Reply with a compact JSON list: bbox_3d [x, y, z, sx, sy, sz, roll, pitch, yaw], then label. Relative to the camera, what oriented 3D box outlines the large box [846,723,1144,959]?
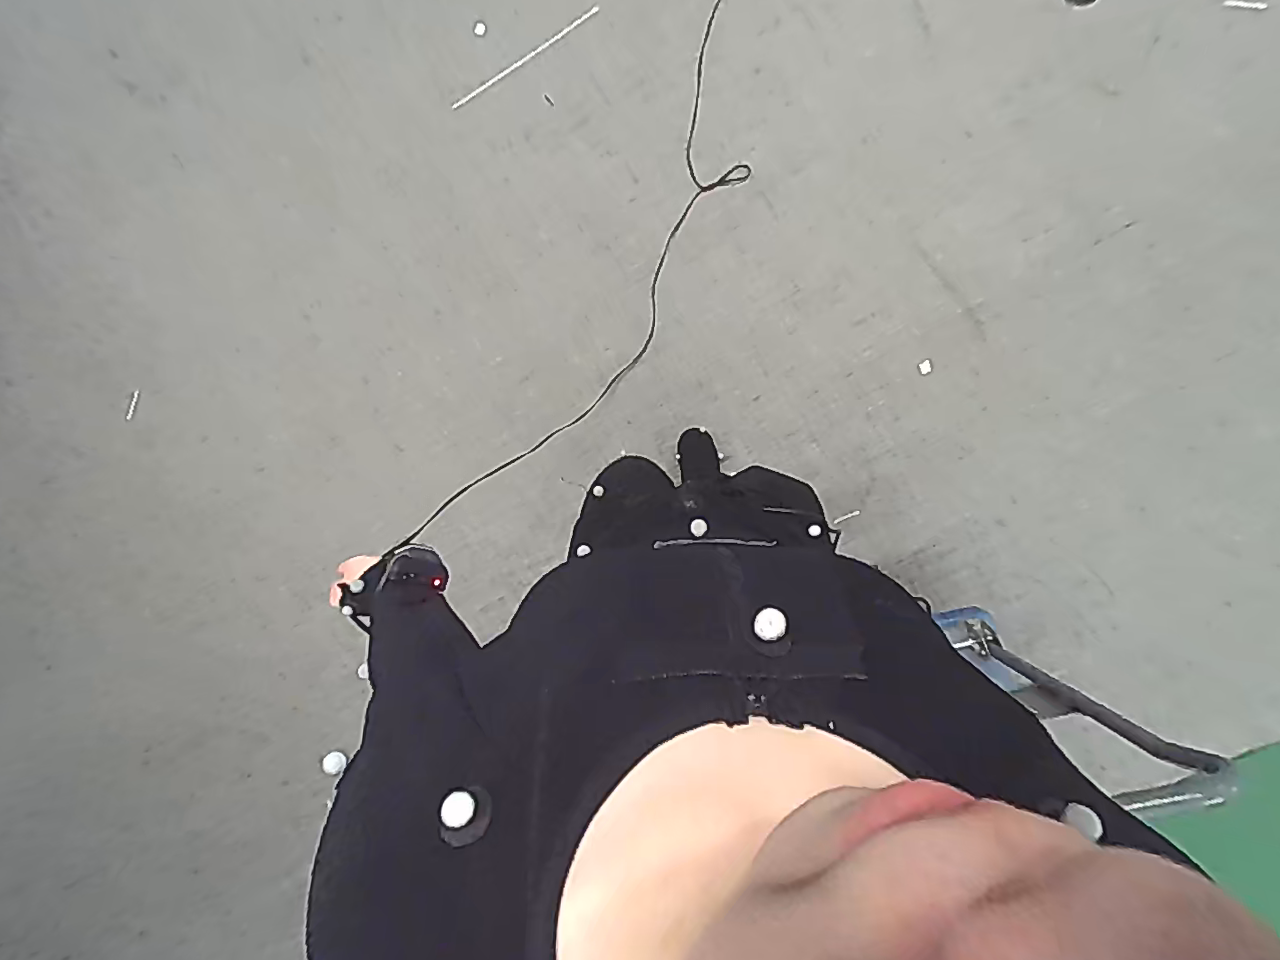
[{"bbox_3d":[0.705,0.763,1.145,0.408,0.320,0.320,-13,90,8],"label":"large box"}]
